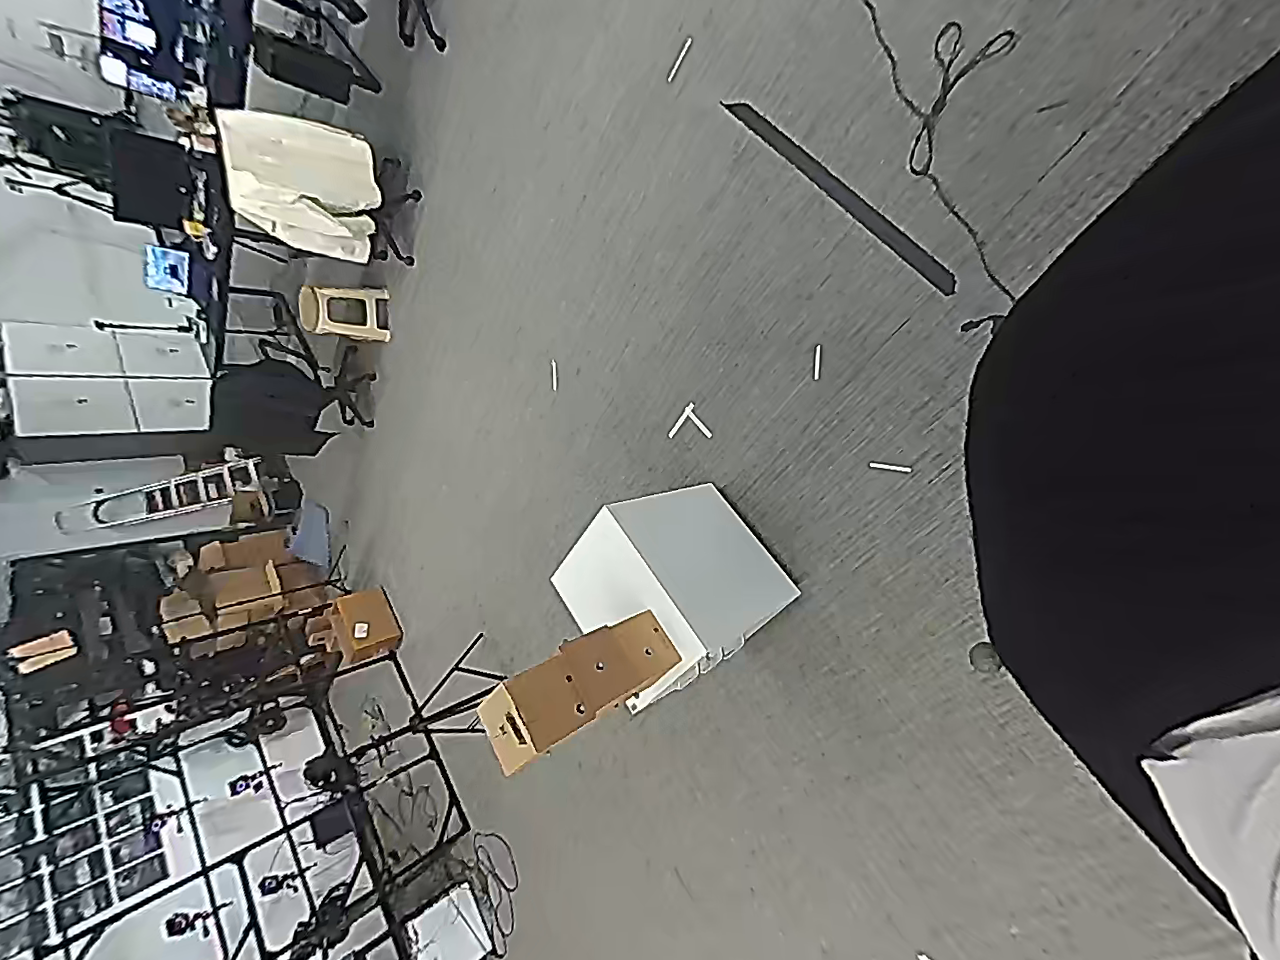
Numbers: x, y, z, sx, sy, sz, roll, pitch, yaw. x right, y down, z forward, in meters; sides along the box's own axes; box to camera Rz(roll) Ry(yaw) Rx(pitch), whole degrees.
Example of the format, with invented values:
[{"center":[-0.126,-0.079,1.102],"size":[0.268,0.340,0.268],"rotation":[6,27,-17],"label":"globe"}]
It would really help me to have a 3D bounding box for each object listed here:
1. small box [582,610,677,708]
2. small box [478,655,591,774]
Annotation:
[{"center":[-0.023,0.484,1.483],"size":[0.168,0.176,0.179],"rotation":[54,129,22],"label":"small box"},{"center":[-0.236,0.529,1.236],"size":[0.168,0.176,0.179],"rotation":[56,130,20],"label":"small box"}]
